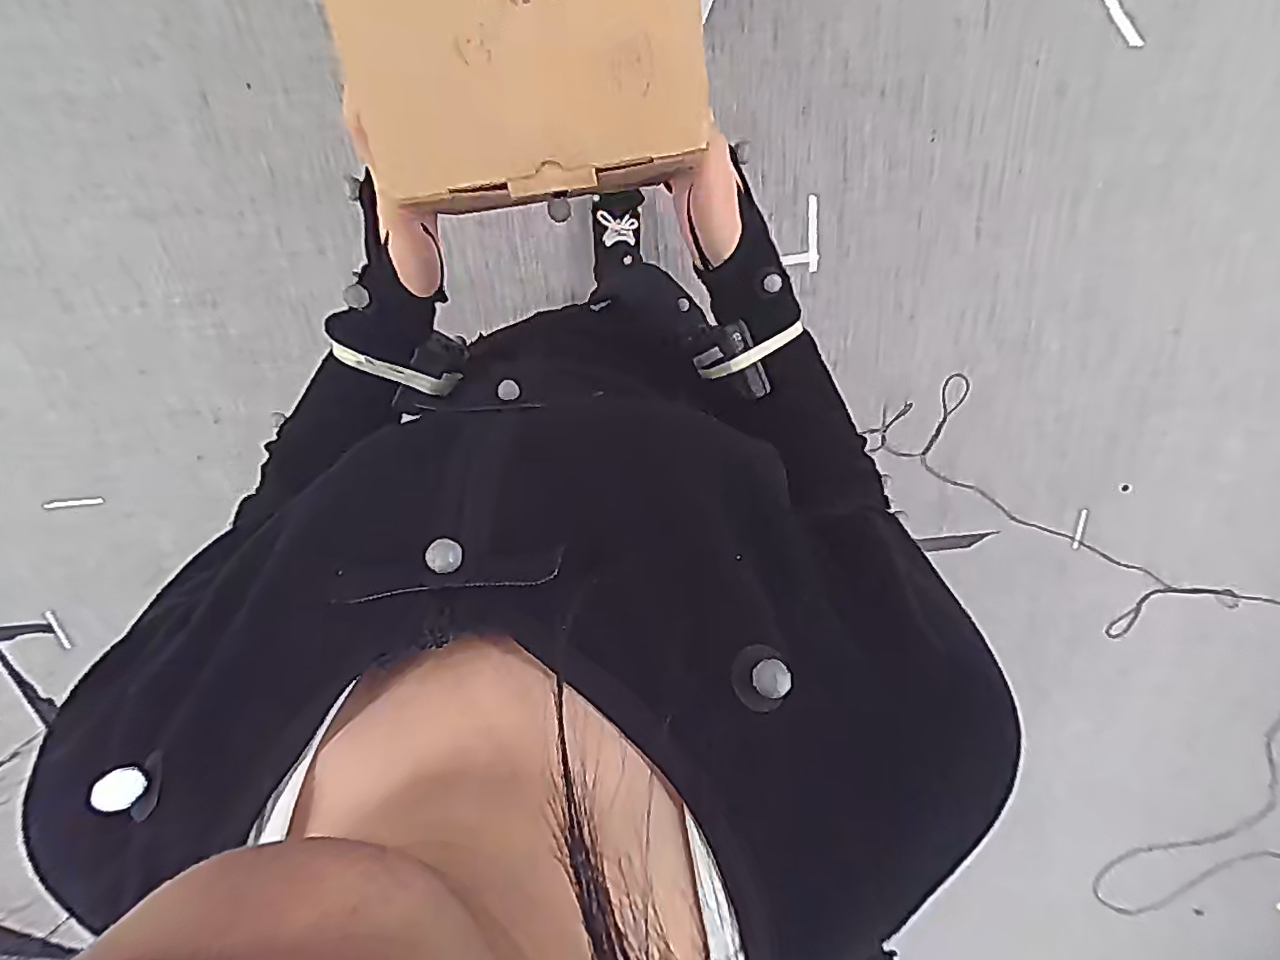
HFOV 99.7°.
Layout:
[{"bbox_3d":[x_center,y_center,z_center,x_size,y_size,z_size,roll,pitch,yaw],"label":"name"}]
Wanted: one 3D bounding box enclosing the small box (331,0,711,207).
[{"bbox_3d":[-0.064,-0.262,0.304,0.168,0.176,0.179,-11,117,-3],"label":"small box"}]
